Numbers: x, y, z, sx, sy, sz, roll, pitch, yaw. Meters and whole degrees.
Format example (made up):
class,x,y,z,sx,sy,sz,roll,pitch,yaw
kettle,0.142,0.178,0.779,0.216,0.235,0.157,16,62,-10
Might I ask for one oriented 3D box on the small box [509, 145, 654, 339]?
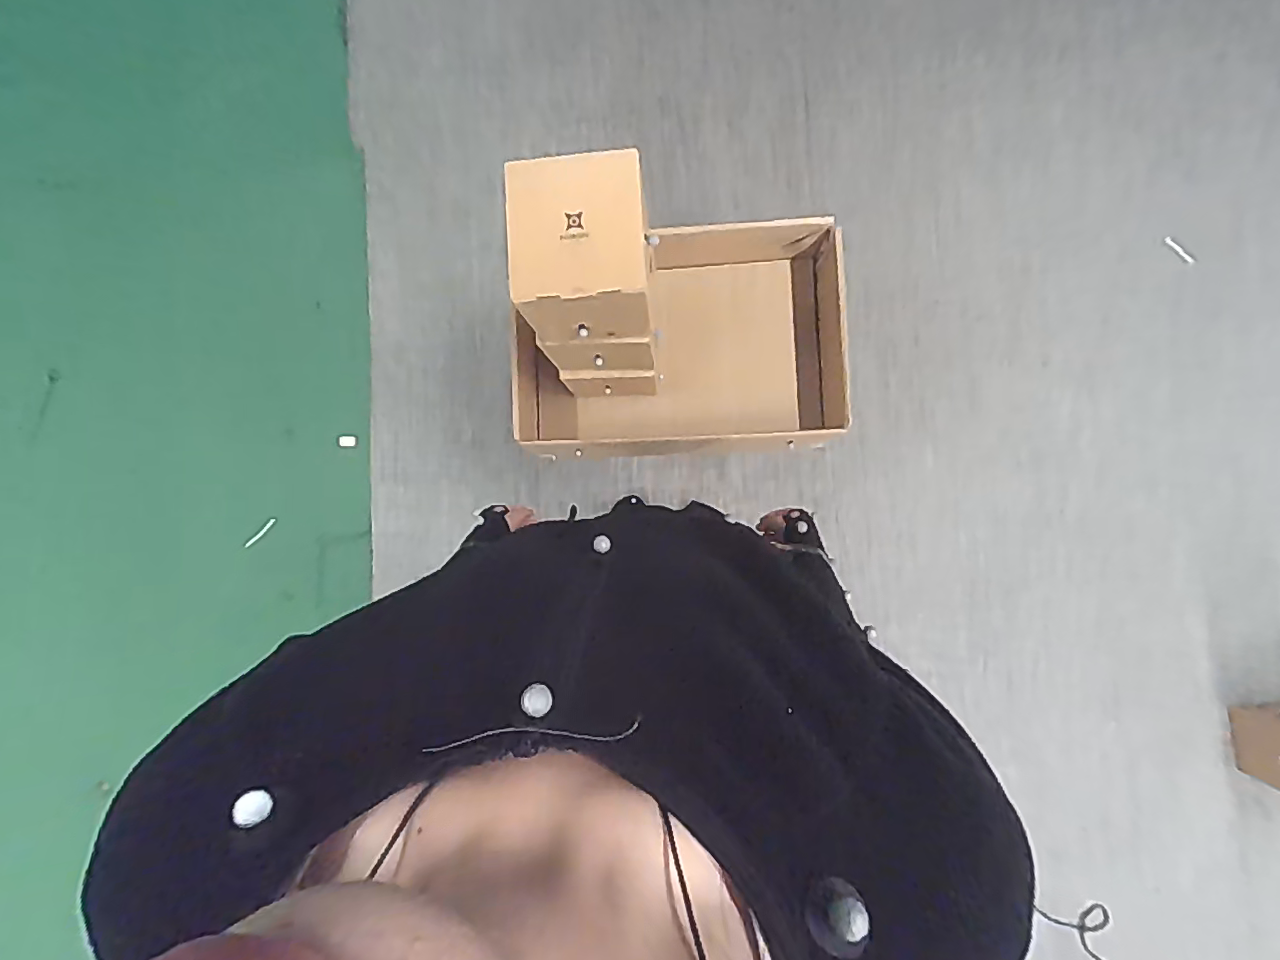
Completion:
class,x,y,z,sx,sy,sz,roll,pitch,yaw
small box,-0.069,-0.303,0.720,0.168,0.176,0.179,-4,87,4

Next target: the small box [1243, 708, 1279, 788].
class,x,y,z,sx,sy,sz,roll,pitch,yaw
small box,1.606,0.652,1.284,0.168,0.176,0.179,-4,86,5

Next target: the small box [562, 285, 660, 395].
class,x,y,z,sx,sy,sz,roll,pitch,yaw
small box,-0.049,-0.263,1.044,0.179,0.176,0.168,-1,87,4
